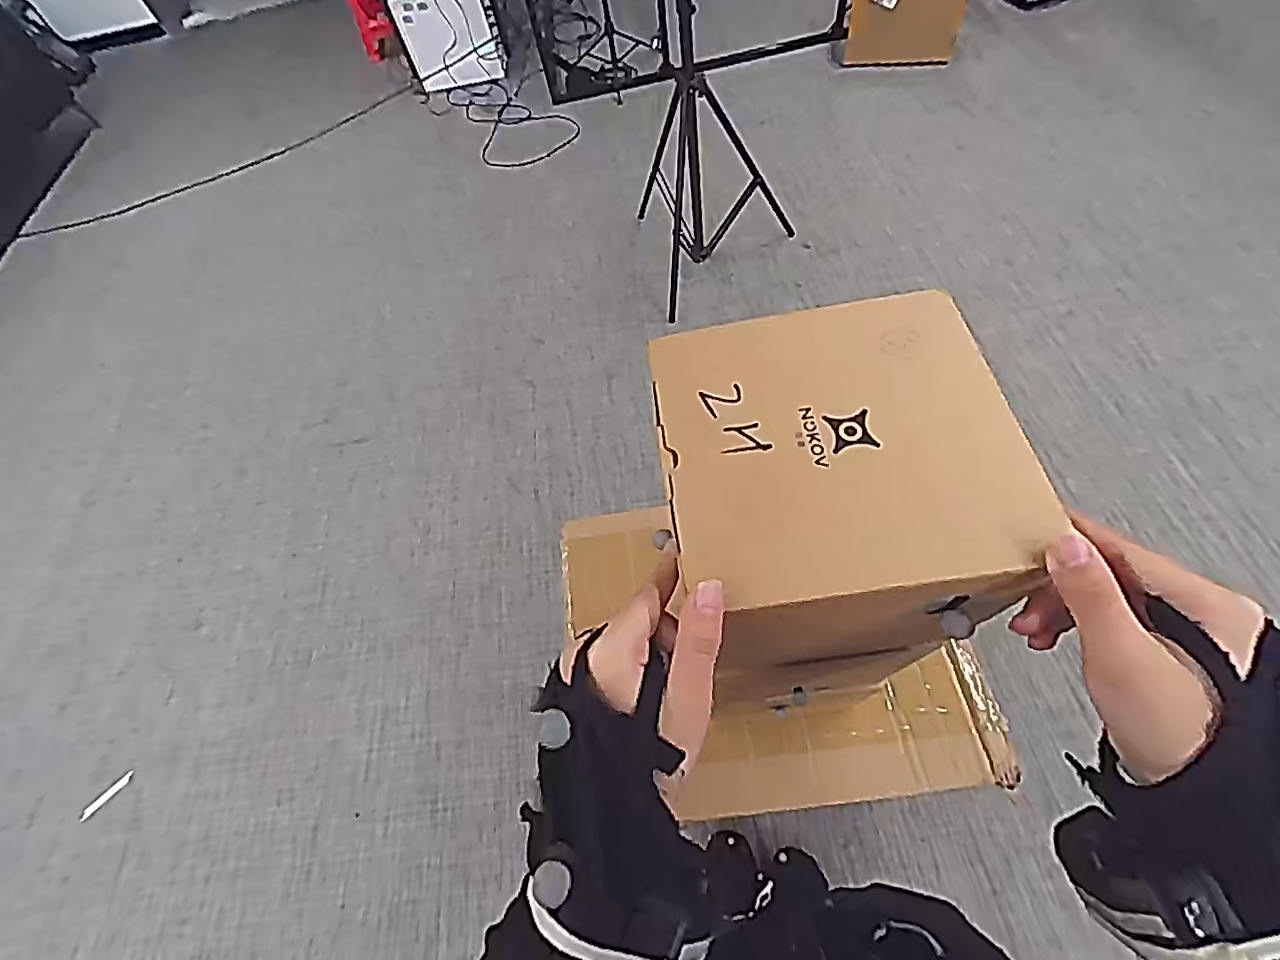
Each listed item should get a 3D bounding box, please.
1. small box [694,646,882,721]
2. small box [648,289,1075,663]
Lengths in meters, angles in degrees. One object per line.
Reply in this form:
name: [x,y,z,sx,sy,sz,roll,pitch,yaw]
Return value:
small box: [0.151,0.177,0.627,0.179,0.176,0.168,-9,60,4]
small box: [0.107,0.012,0.345,0.179,0.176,0.168,-9,61,4]
